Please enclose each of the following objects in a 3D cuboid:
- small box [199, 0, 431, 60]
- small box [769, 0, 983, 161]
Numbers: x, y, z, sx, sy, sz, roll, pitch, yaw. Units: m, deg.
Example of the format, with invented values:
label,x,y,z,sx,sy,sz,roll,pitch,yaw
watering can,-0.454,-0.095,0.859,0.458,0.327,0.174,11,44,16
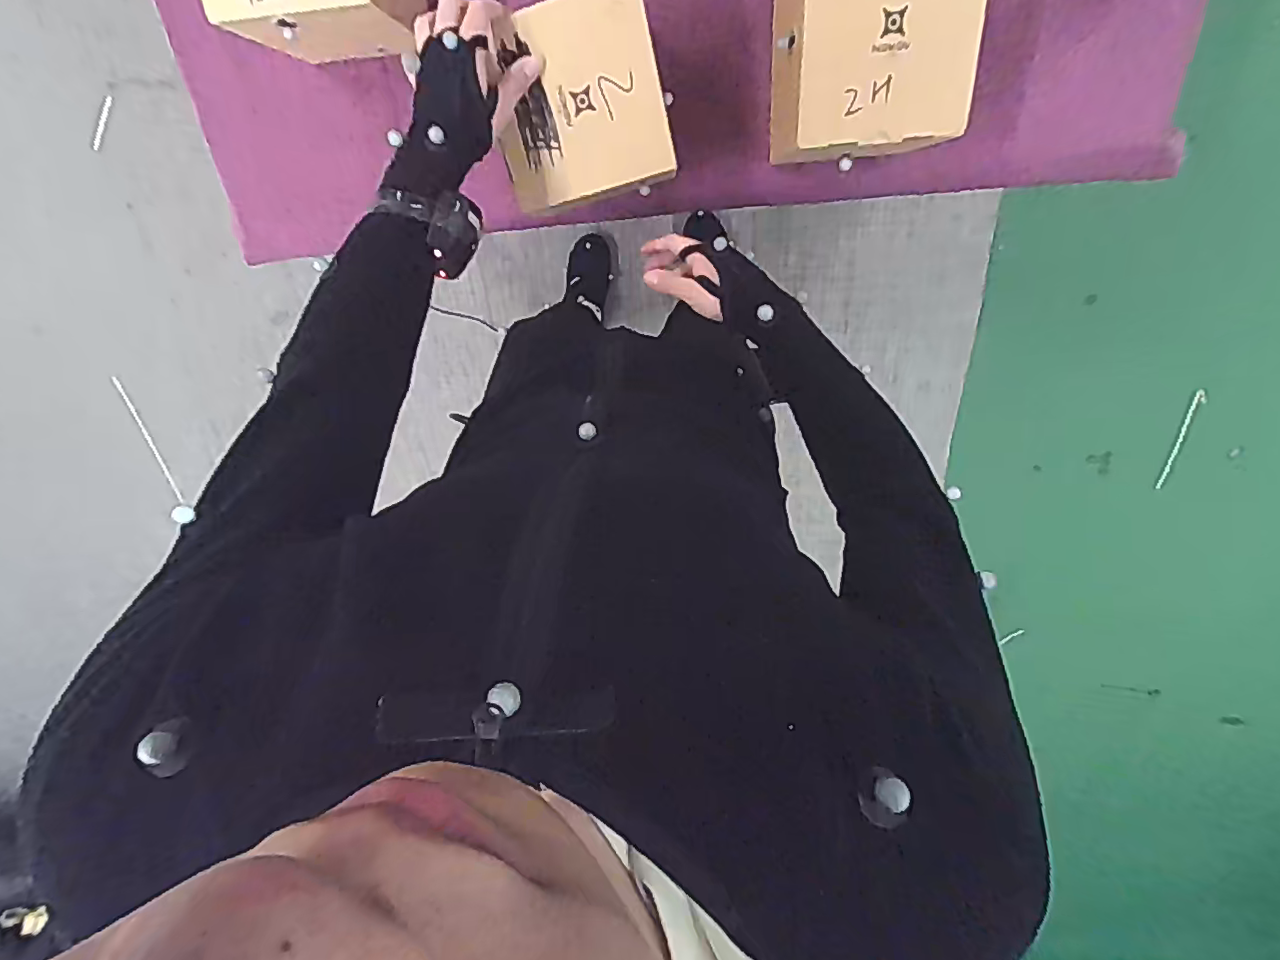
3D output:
label,x,y,z,sx,sy,sz,roll,pitch,yaw
small box,-0.337,-0.559,0.547,0.168,0.176,0.179,-2,116,5
small box,0.235,-0.455,0.578,0.168,0.176,0.179,-2,116,4
